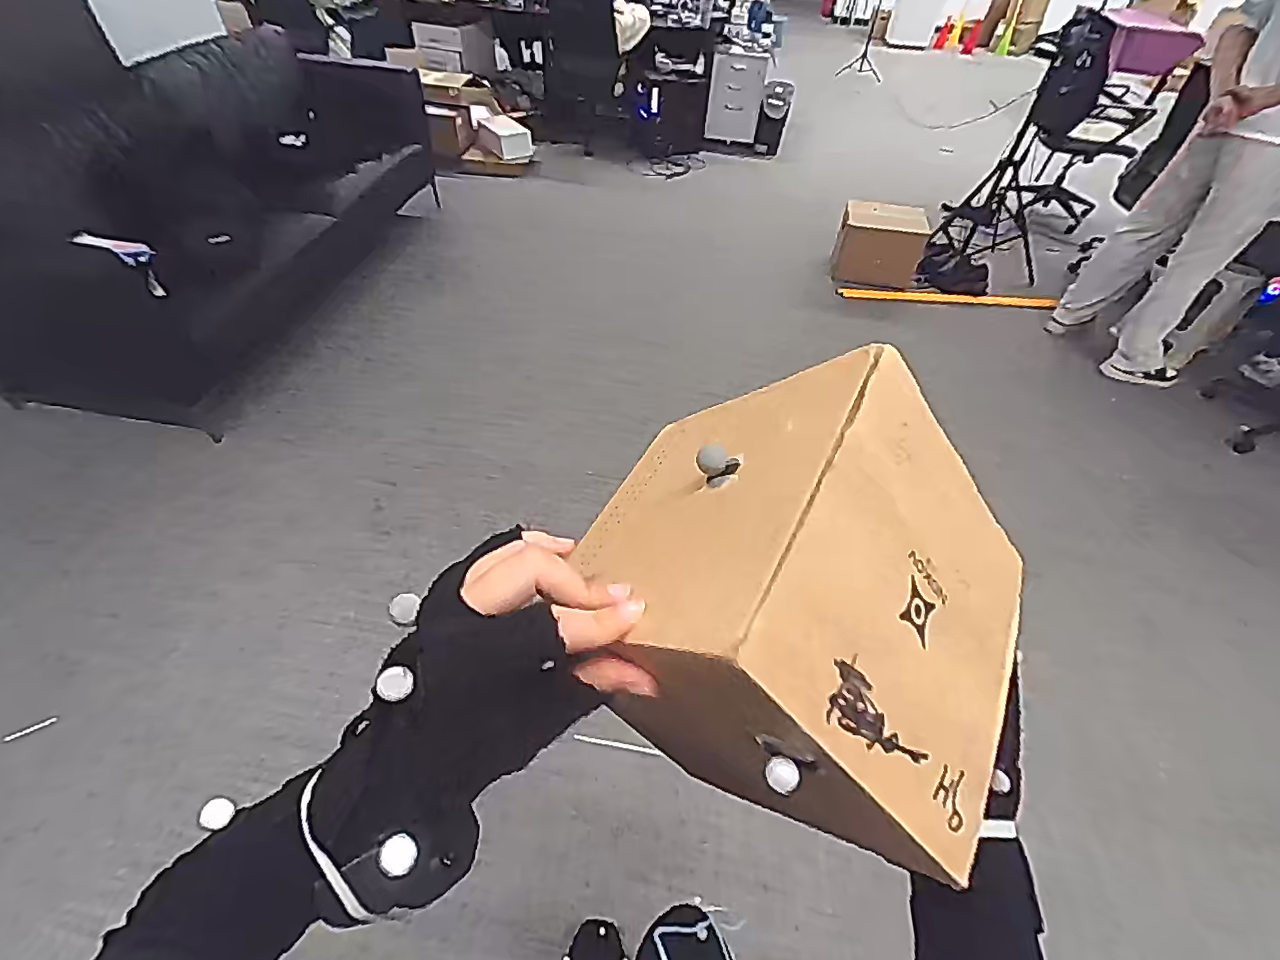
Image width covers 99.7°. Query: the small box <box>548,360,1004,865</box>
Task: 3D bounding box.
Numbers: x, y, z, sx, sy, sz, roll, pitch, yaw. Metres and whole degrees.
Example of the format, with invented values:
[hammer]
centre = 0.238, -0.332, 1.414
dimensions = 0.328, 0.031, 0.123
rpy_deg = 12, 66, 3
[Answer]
[small box]
centre = 0.078, 0.066, 0.316
dimensions = 0.168, 0.176, 0.179
rpy_deg = 47, 57, -19
